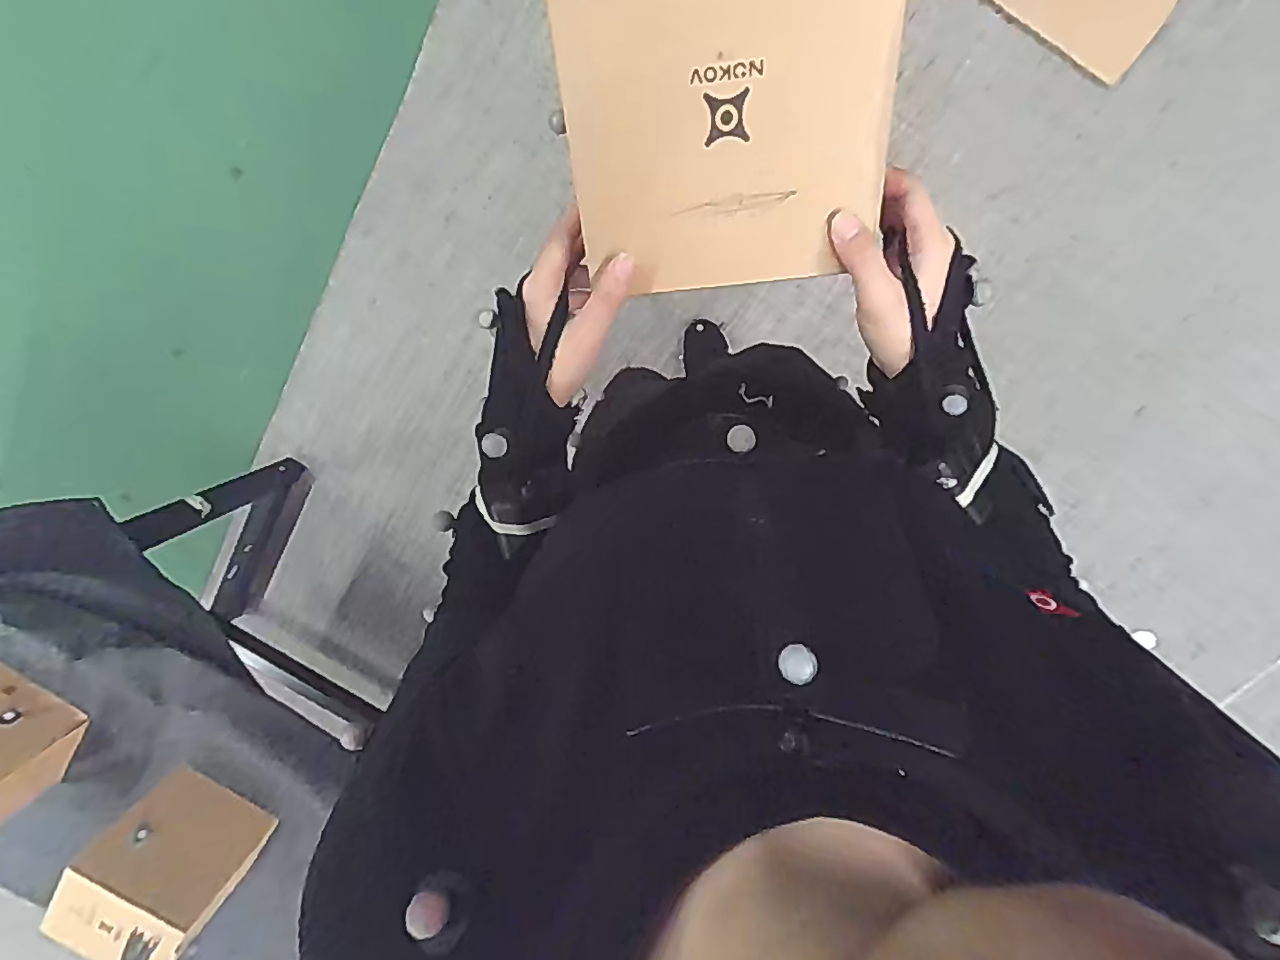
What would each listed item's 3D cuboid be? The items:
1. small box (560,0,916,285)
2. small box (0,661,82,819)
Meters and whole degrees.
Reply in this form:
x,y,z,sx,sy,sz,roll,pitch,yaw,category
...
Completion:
x,y,z,sx,sy,sz,roll,pitch,yaw,category
0.050,-0.235,0.334,0.168,0.176,0.179,-3,124,5,small box
-0.962,0.398,0.763,0.168,0.176,0.179,37,108,-7,small box
